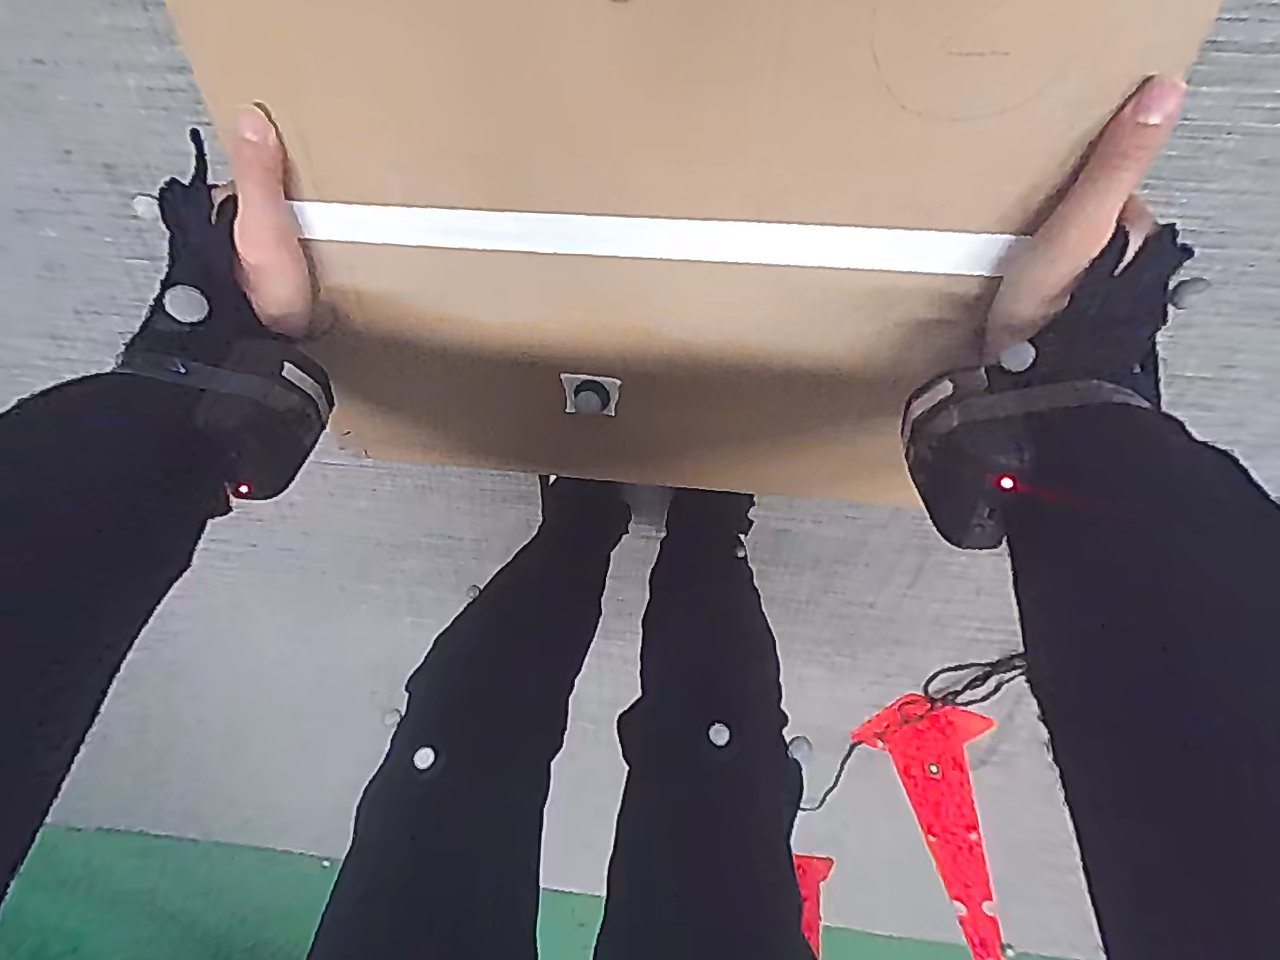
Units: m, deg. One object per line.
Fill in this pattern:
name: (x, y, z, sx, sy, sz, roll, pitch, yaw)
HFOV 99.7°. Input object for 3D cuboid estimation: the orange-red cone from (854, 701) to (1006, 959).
orange-red cone: (0.525, 0.595, 0.903, 0.199, 0.360, 0.198, 20, 128, -10)
